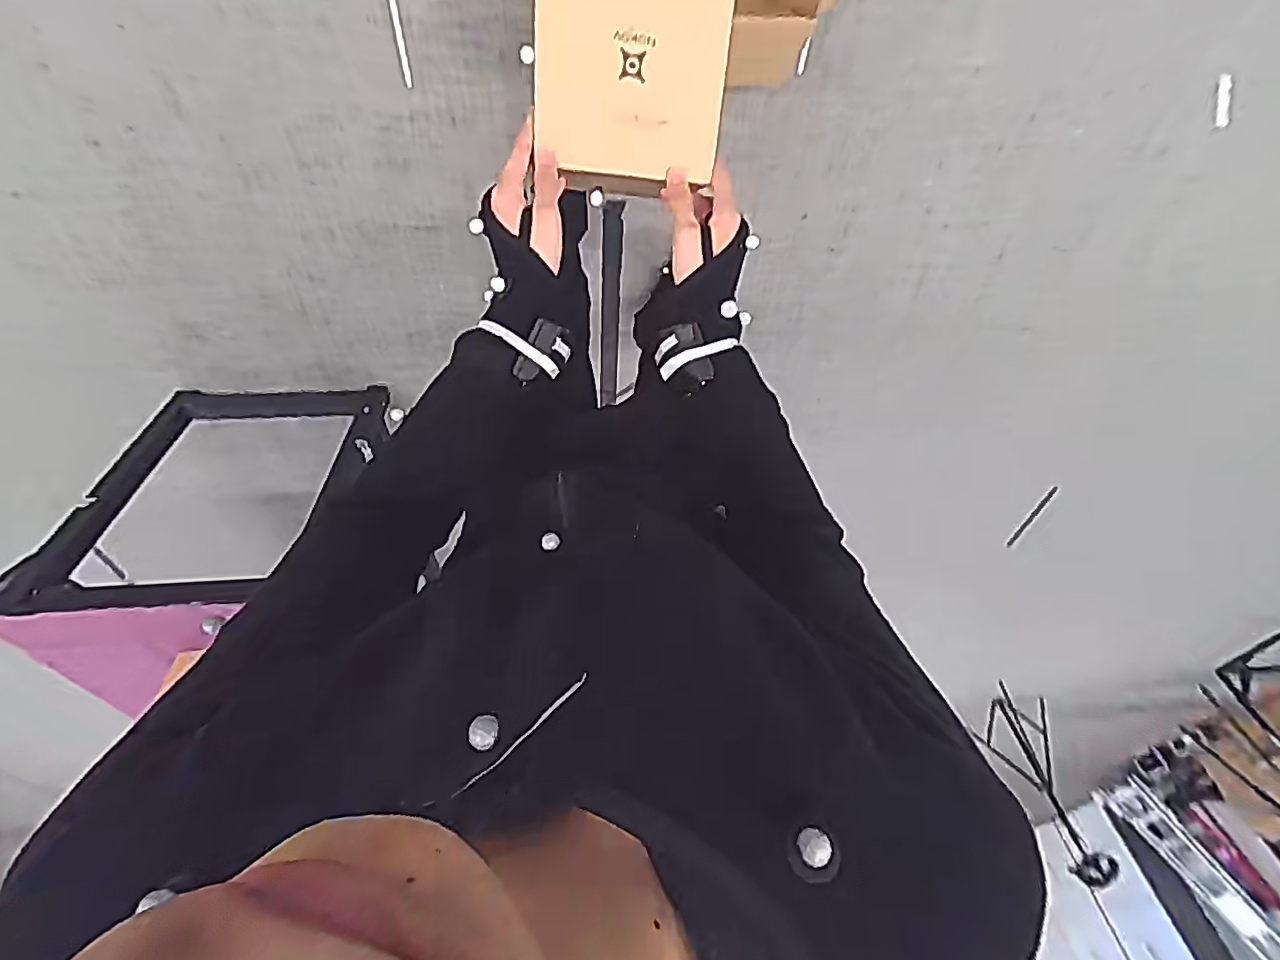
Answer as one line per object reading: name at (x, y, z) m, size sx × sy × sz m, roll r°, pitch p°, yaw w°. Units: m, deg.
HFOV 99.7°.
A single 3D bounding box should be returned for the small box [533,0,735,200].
small box at (-0.017, -0.387, 0.527) m, size 0.168 × 0.176 × 0.179 m, roll 2°, pitch 112°, yaw -9°
